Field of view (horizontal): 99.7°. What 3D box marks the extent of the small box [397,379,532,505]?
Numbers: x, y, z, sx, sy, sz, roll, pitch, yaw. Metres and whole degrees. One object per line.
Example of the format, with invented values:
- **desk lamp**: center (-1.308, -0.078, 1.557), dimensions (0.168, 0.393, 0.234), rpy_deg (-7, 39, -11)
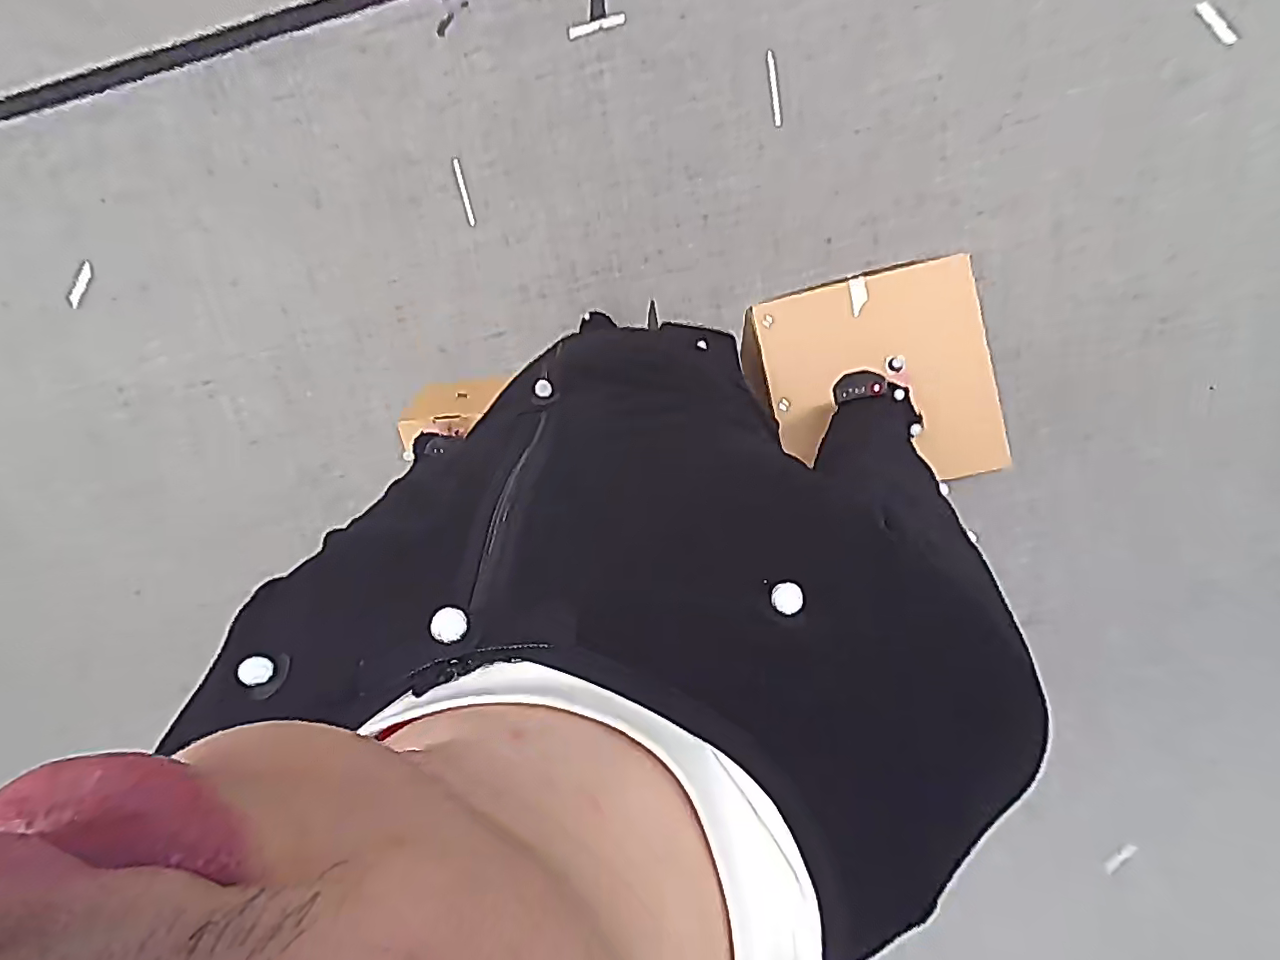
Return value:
- **small box**: center (-0.296, -0.064, 0.958), dimensions (0.168, 0.179, 0.176), rpy_deg (-5, 120, 2)
